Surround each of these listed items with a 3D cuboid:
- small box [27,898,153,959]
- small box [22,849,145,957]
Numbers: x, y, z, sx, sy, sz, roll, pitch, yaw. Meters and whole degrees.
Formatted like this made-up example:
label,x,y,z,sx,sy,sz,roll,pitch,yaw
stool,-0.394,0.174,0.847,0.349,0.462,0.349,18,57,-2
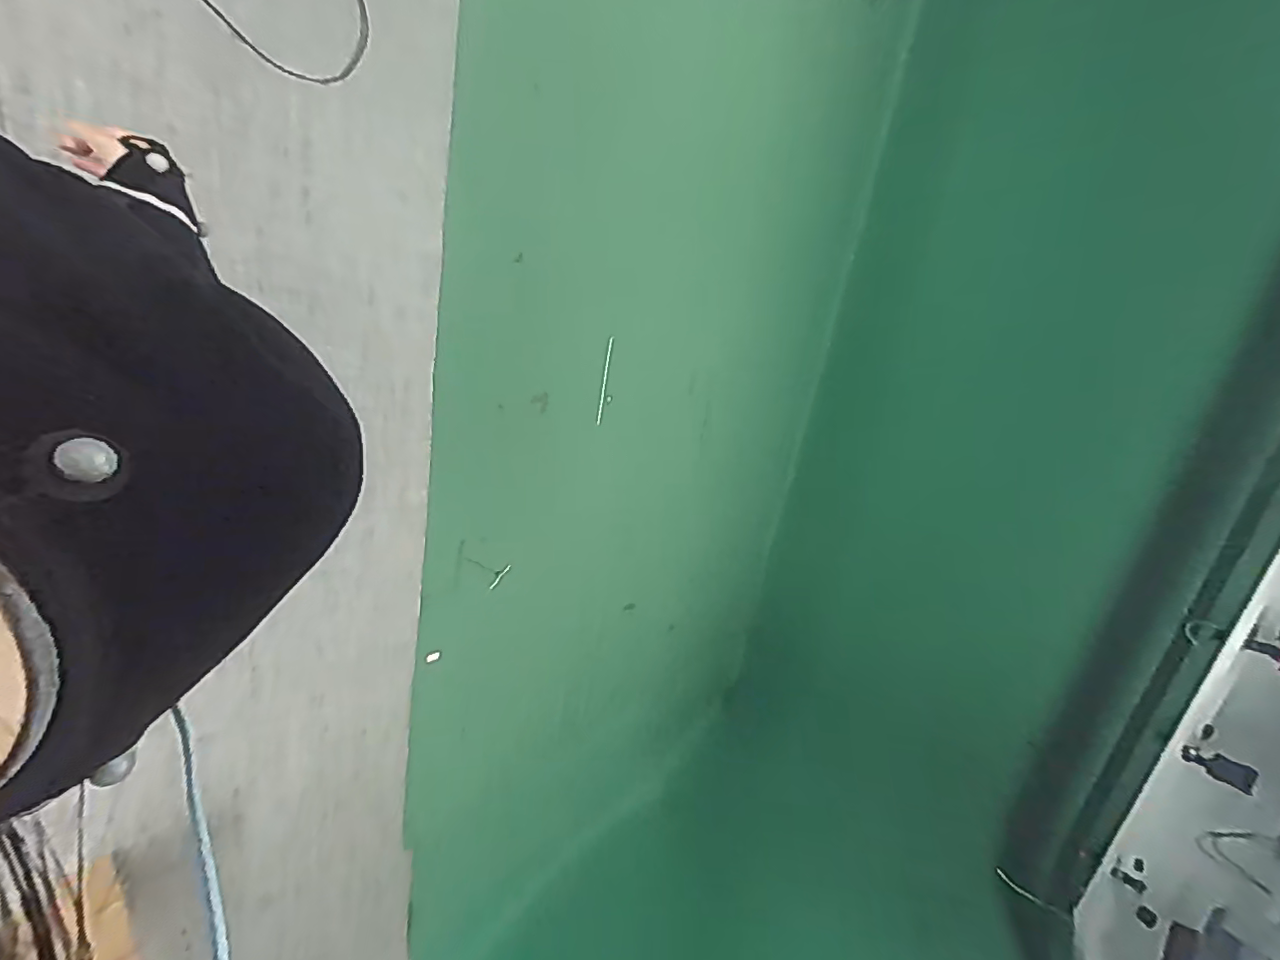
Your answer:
label,x,y,z,sx,sy,sz,roll,pitch,yaw
small box,-1.226,1.107,1.213,0.179,0.176,0.168,-19,122,-49
small box,-1.350,1.061,1.311,0.179,0.176,0.168,-19,123,-49
